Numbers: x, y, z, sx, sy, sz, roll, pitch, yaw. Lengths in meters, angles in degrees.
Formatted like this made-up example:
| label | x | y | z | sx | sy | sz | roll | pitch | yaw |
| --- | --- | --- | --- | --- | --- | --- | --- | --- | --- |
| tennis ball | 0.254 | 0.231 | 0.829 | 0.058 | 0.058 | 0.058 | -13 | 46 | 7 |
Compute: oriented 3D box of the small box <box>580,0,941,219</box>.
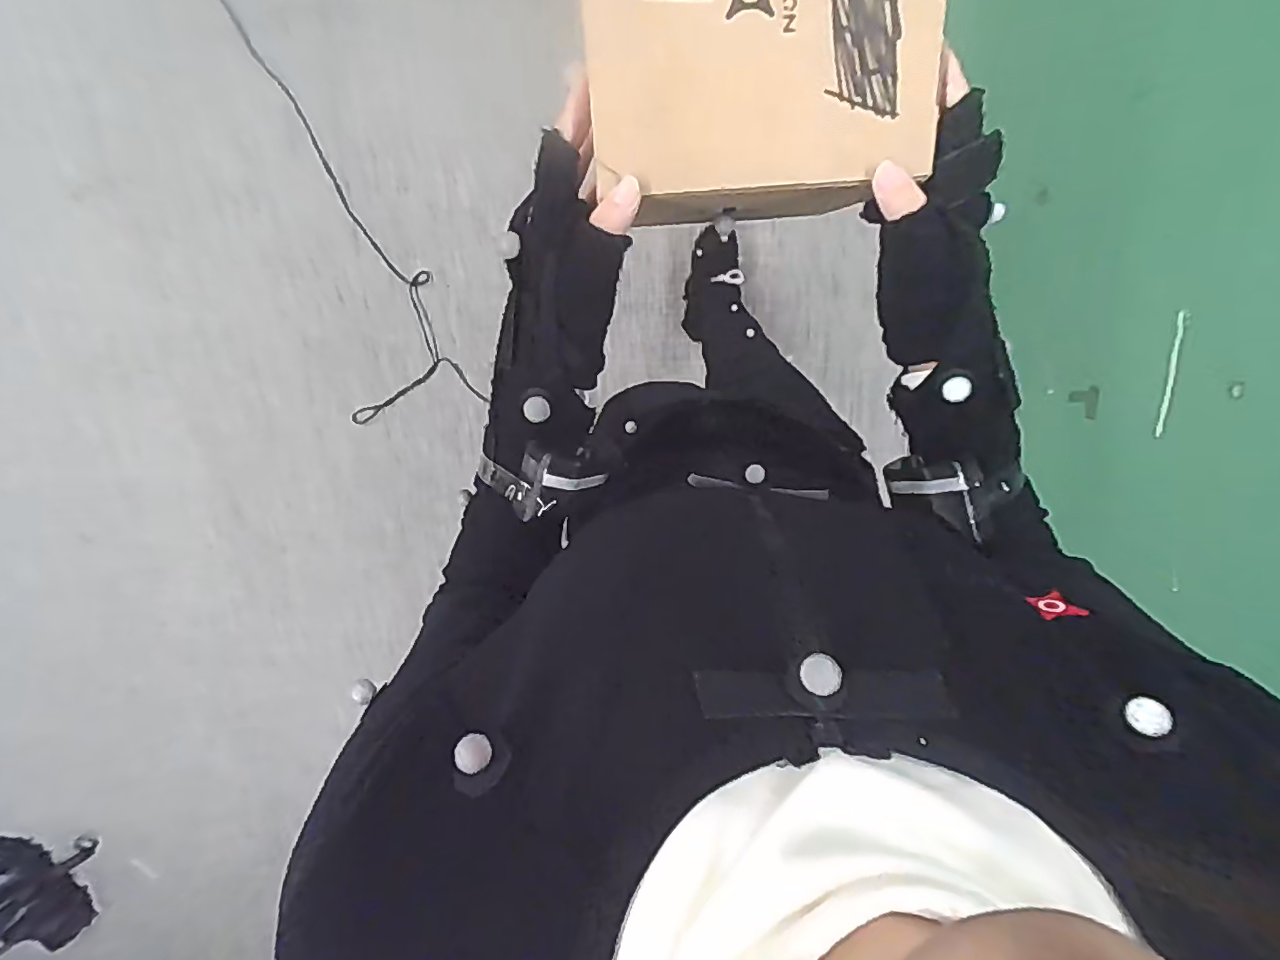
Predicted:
| label | x | y | z | sx | sy | sz | roll | pitch | yaw |
| --- | --- | --- | --- | --- | --- | --- | --- | --- | --- |
| small box | 0.055 | -0.259 | 0.330 | 0.179 | 0.176 | 0.168 | -4 | 111 | 0 |
